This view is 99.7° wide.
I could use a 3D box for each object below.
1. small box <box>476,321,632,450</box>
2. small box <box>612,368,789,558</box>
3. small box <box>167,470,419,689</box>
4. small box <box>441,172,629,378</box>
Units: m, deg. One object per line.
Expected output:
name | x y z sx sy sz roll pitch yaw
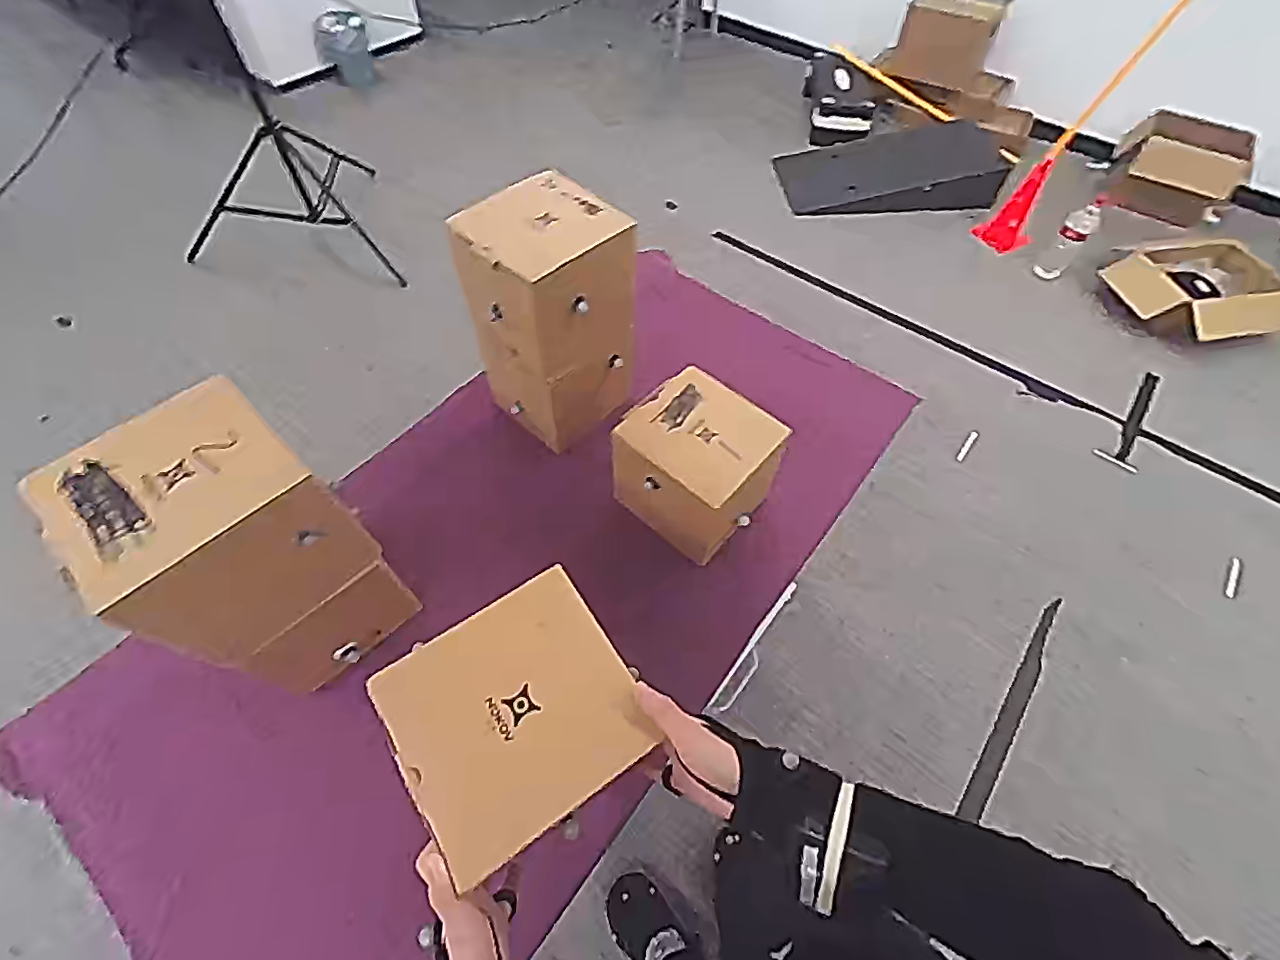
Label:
small box | -0.132 -0.184 0.871 0.168 0.176 0.179 38 64 20
small box | 0.077 -0.019 0.772 0.179 0.176 0.168 37 64 21
small box | -0.408 0.128 0.664 0.179 0.176 0.168 41 66 19
small box | -0.129 -0.271 0.732 0.168 0.176 0.179 40 65 20
